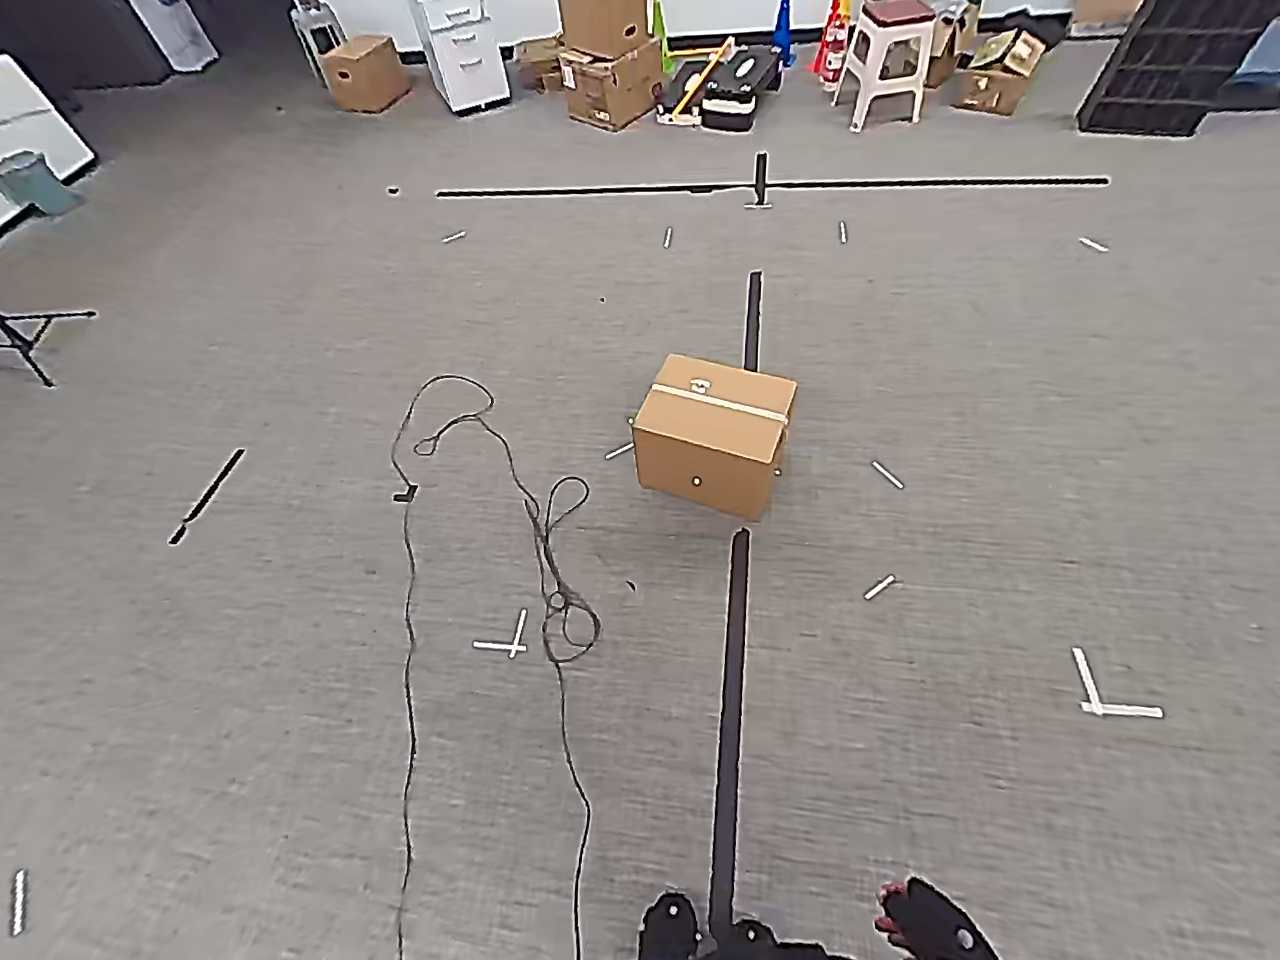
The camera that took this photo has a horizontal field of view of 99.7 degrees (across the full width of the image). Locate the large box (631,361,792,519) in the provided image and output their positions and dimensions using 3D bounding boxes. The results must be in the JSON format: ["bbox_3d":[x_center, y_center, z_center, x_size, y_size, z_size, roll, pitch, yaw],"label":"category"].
[{"bbox_3d":[0.226,-0.122,1.684,0.408,0.320,0.320,16,58,17],"label":"large box"}]
